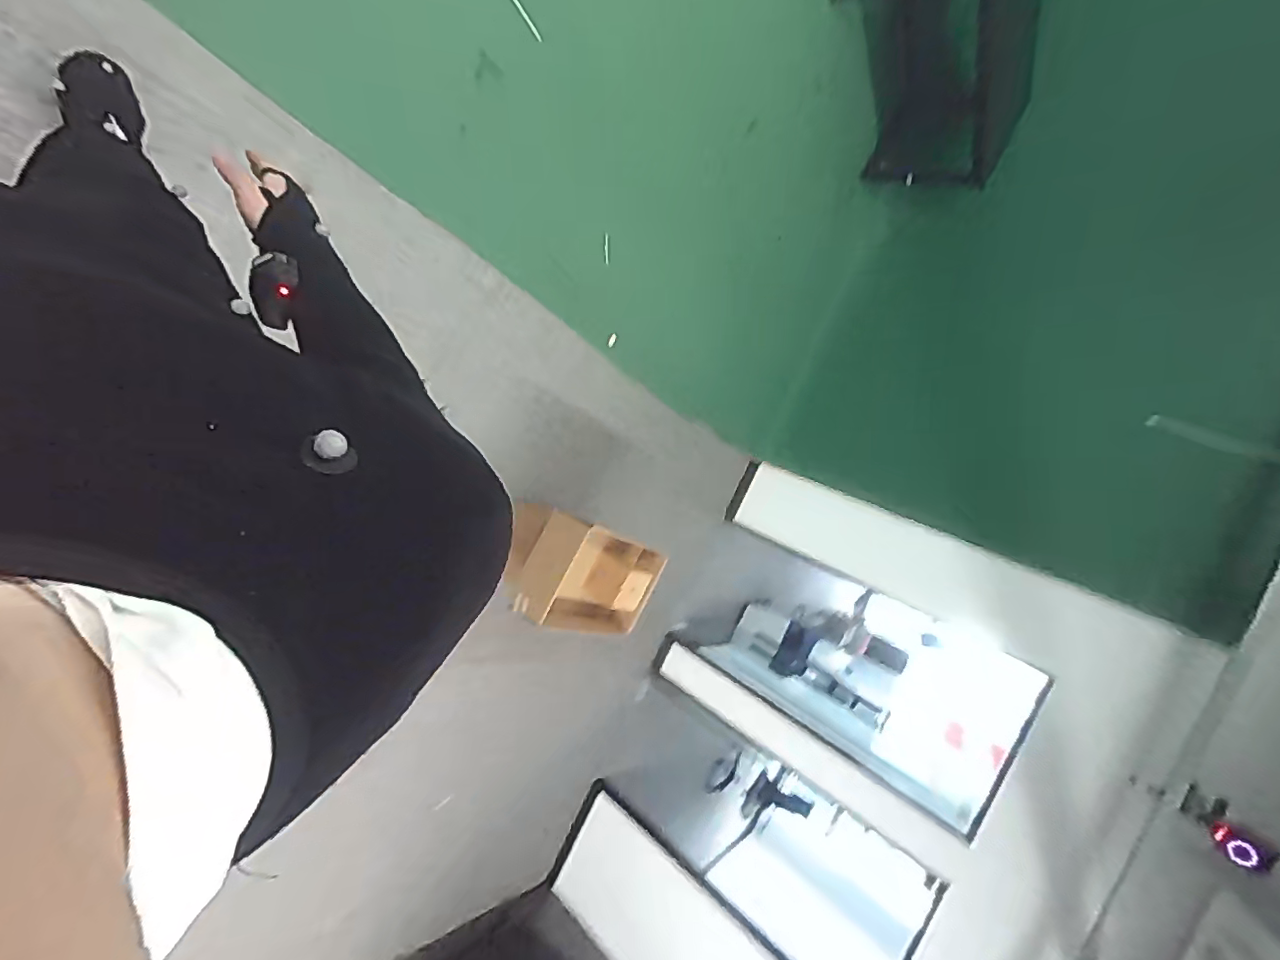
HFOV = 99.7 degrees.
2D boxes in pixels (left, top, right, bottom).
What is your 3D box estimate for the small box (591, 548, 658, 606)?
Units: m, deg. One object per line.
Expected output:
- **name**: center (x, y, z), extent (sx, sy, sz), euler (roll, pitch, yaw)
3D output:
- **small box**: center (-0.063, 0.388, 2.177), extent (0.179, 0.176, 0.168), euler (28, 90, -54)
